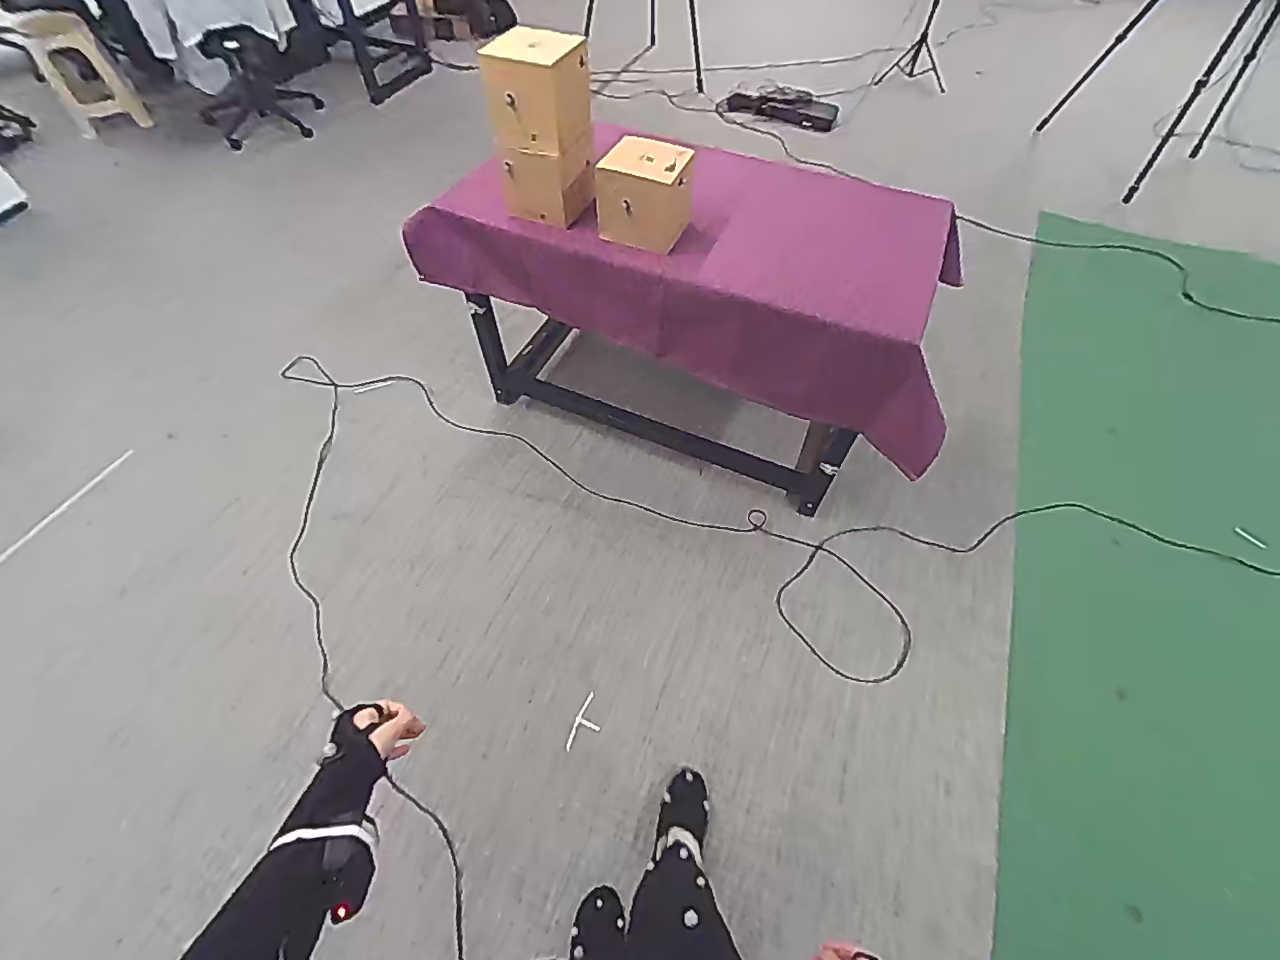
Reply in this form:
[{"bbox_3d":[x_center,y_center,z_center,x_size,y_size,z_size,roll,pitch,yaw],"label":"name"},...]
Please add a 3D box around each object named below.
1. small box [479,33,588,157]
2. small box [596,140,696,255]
[{"bbox_3d":[-0.218,-0.833,1.174,0.168,0.176,0.179,17,55,11],"label":"small box"},{"bbox_3d":[0.015,-0.647,1.245,0.179,0.176,0.168,19,58,13],"label":"small box"}]
